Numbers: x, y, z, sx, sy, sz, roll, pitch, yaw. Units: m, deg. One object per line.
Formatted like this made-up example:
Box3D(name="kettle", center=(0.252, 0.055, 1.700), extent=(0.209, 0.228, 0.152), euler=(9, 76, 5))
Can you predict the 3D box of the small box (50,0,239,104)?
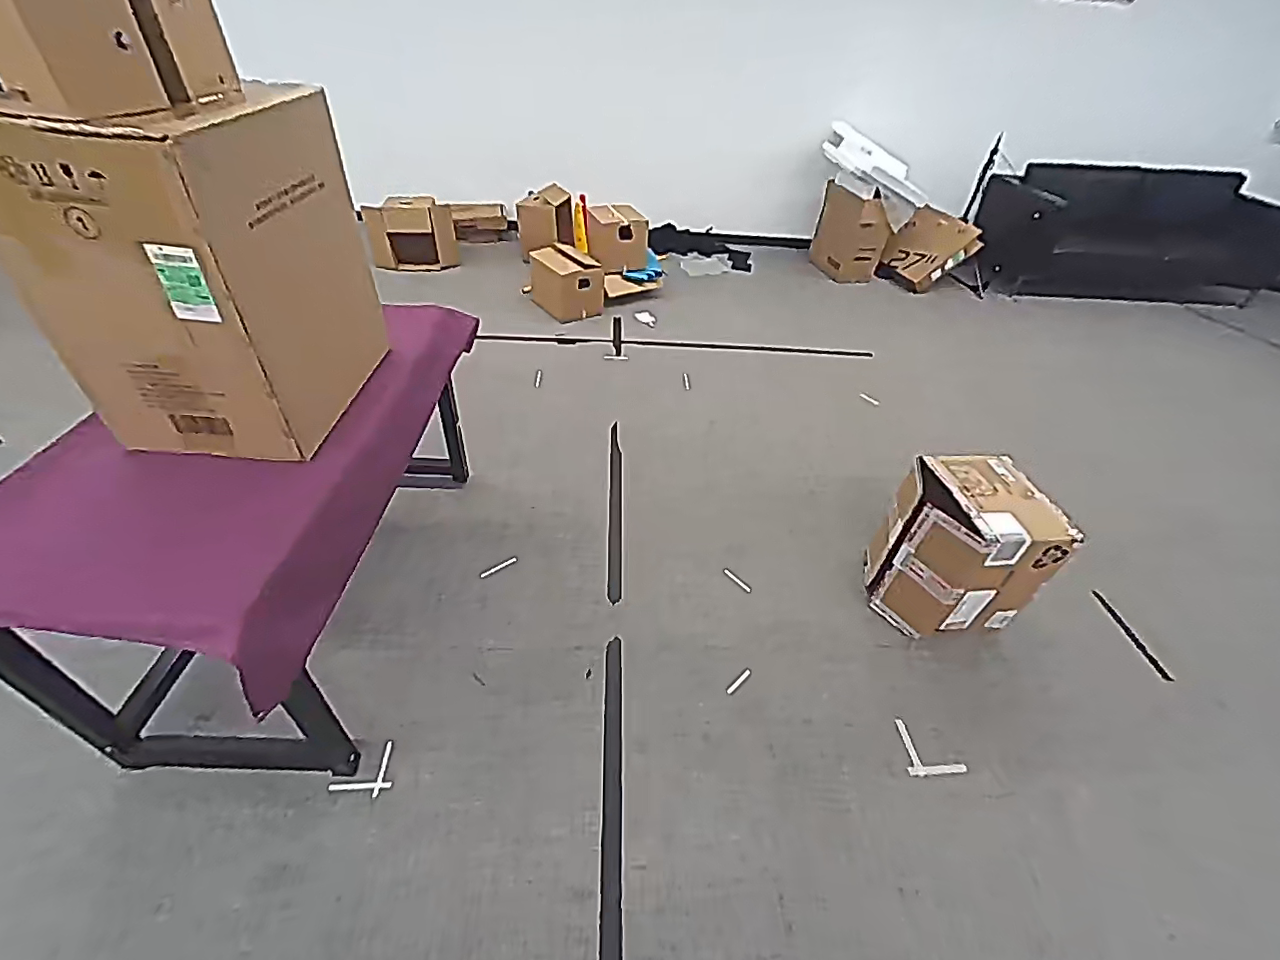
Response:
Box3D(name="small box", center=(-0.872, -0.779, 0.958), extent=(0.179, 0.176, 0.168), euler=(2, 42, -2))
